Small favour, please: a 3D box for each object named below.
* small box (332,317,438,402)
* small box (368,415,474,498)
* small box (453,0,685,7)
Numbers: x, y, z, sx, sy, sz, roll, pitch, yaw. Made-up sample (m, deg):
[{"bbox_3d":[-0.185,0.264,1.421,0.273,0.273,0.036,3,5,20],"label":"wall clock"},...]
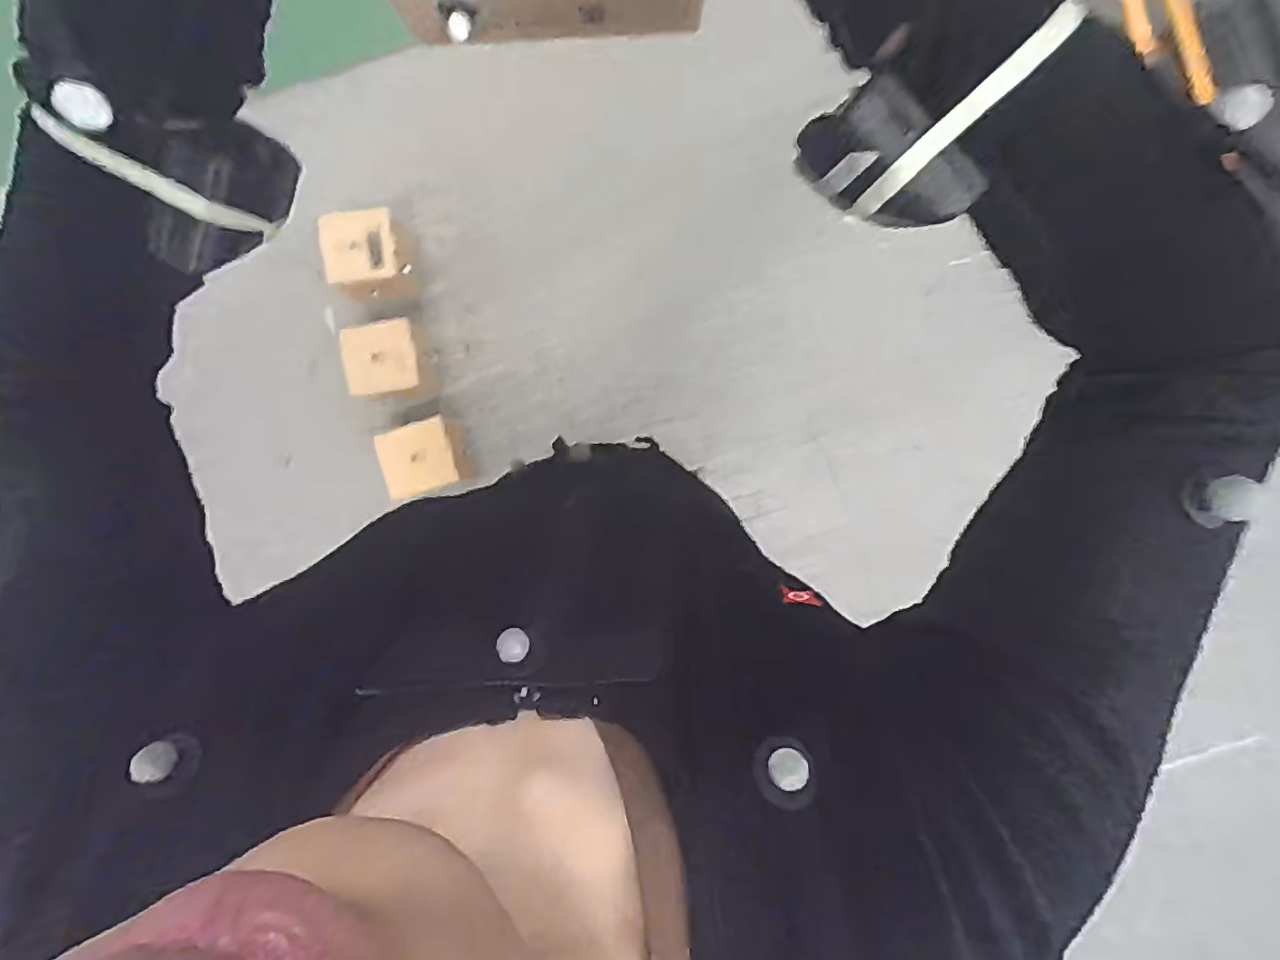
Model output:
[{"bbox_3d":[-0.641,-0.300,1.377,0.179,0.176,0.168,-10,93,-1],"label":"small box"},{"bbox_3d":[-0.554,-0.058,1.388,0.179,0.176,0.168,-18,92,0],"label":"small box"},{"bbox_3d":[-0.047,-0.337,0.218,0.168,0.176,0.179,-1,98,1],"label":"small box"}]
